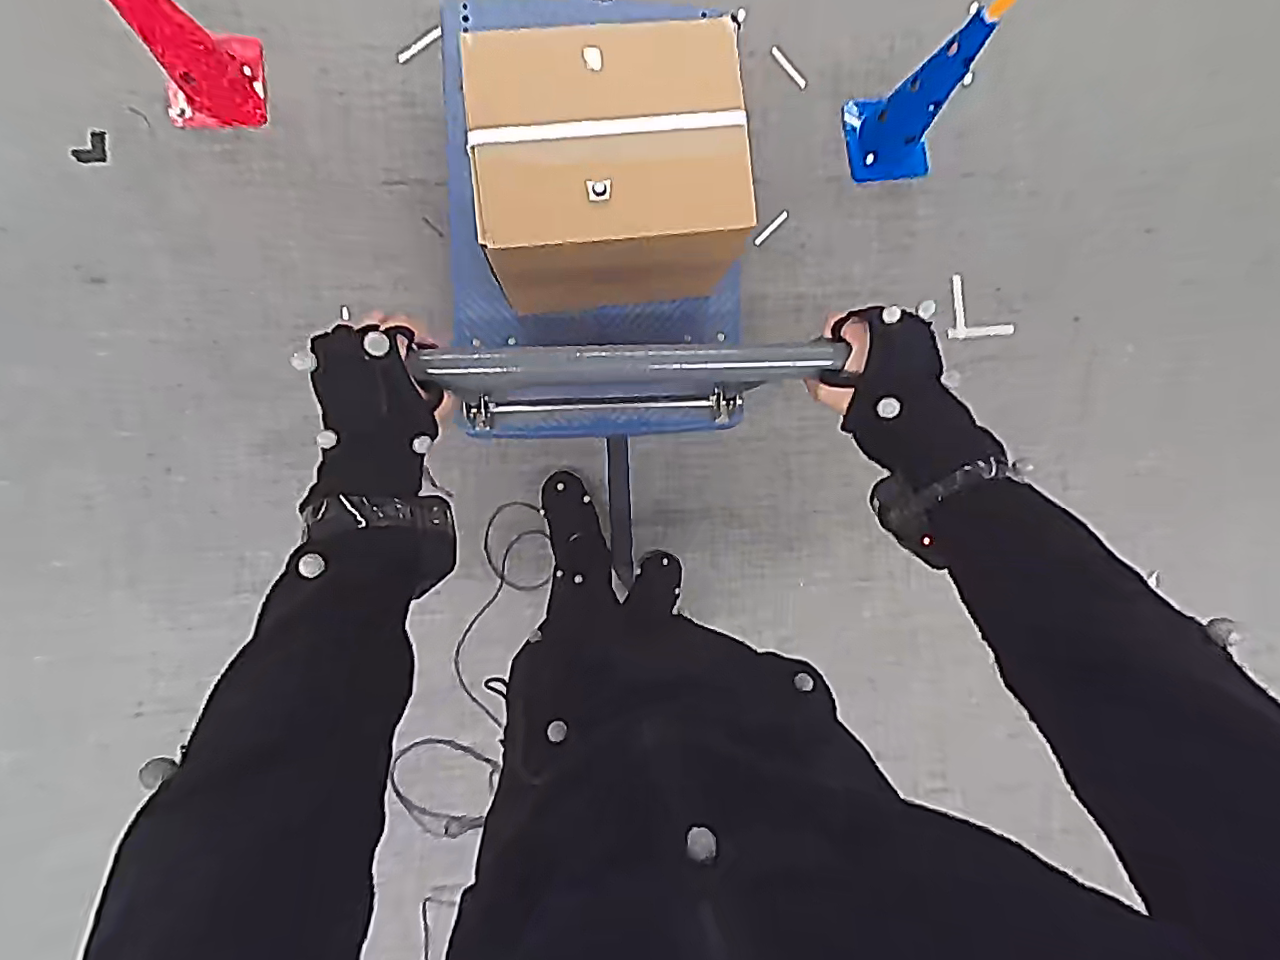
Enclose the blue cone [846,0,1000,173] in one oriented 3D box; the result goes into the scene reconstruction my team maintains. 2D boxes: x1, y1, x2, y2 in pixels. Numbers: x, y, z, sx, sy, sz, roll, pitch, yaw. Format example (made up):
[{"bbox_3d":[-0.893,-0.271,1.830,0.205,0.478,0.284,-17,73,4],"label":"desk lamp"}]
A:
[{"bbox_3d":[0.617,-0.847,1.154,0.193,0.380,0.192,-7,89,-5],"label":"blue cone"}]
